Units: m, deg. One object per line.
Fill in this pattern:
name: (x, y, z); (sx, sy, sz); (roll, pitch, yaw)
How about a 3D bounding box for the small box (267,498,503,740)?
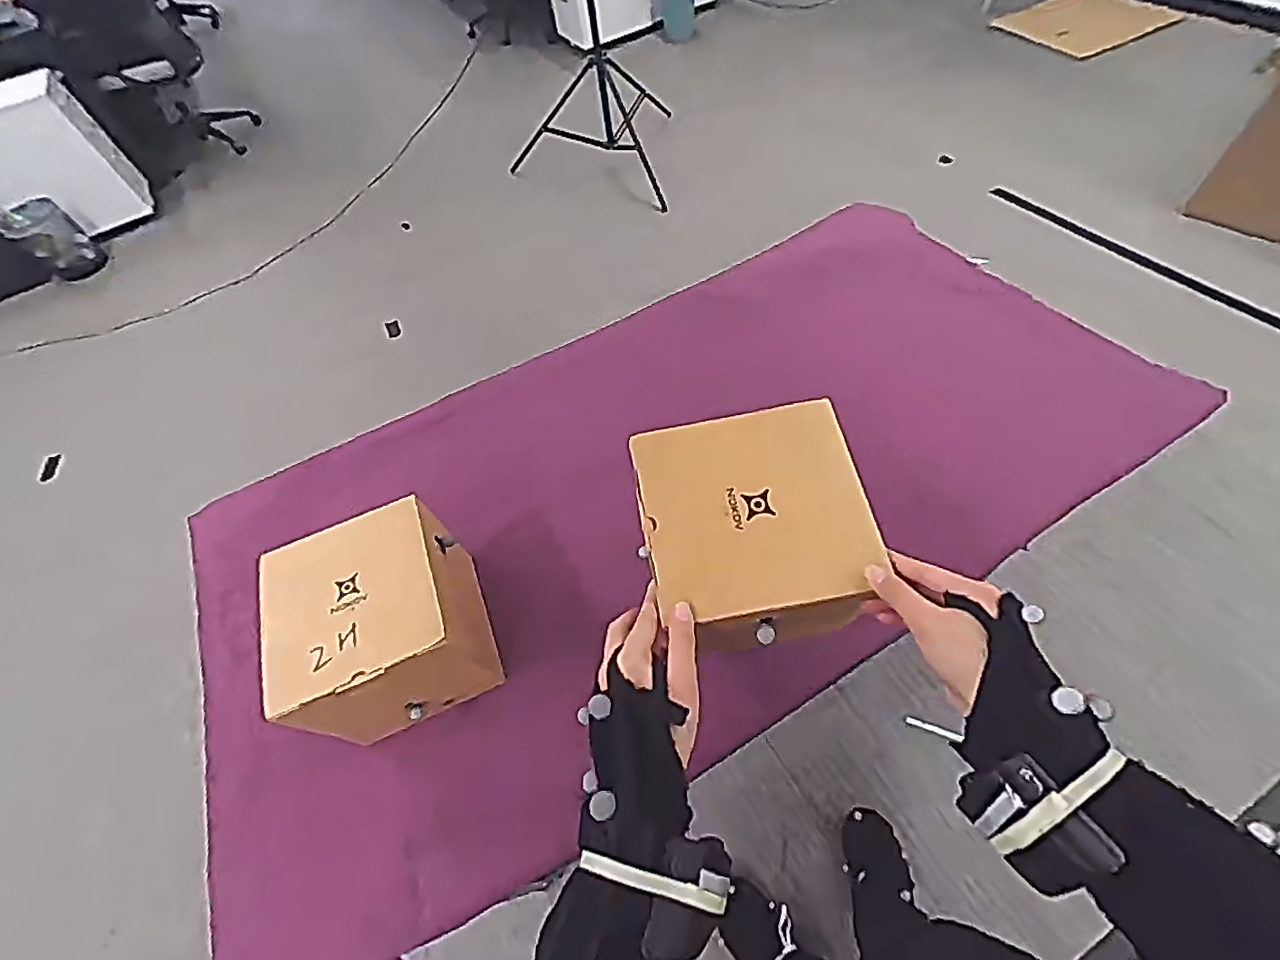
small box: (-0.270, 0.156, 0.591); (0.168, 0.176, 0.179); (-23, 57, -8)
